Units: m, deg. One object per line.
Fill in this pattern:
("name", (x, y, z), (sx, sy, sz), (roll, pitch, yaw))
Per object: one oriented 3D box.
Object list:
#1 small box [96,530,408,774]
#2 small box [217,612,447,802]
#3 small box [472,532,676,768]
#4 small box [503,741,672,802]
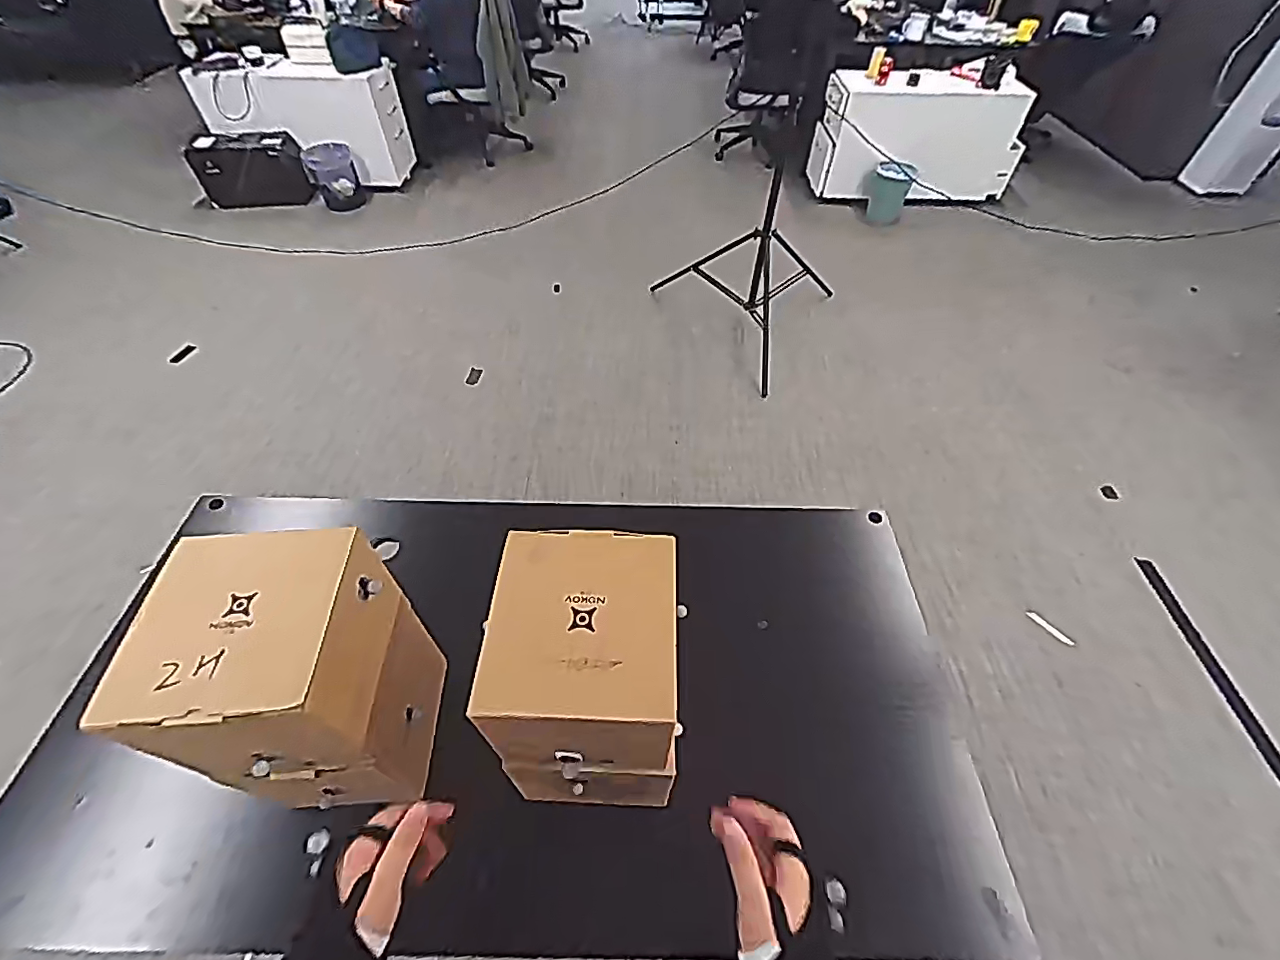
("small box", (-0.347, 0.170, 0.535), (0.168, 0.176, 0.179), (-4, 50, -3))
("small box", (-0.349, 0.281, 0.659), (0.168, 0.176, 0.179), (-3, 50, -2))
("small box", (-0.051, 0.171, 0.541), (0.168, 0.176, 0.179), (0, 50, 1))
("small box", (-0.051, 0.283, 0.660), (0.179, 0.176, 0.168), (2, 50, 1))
